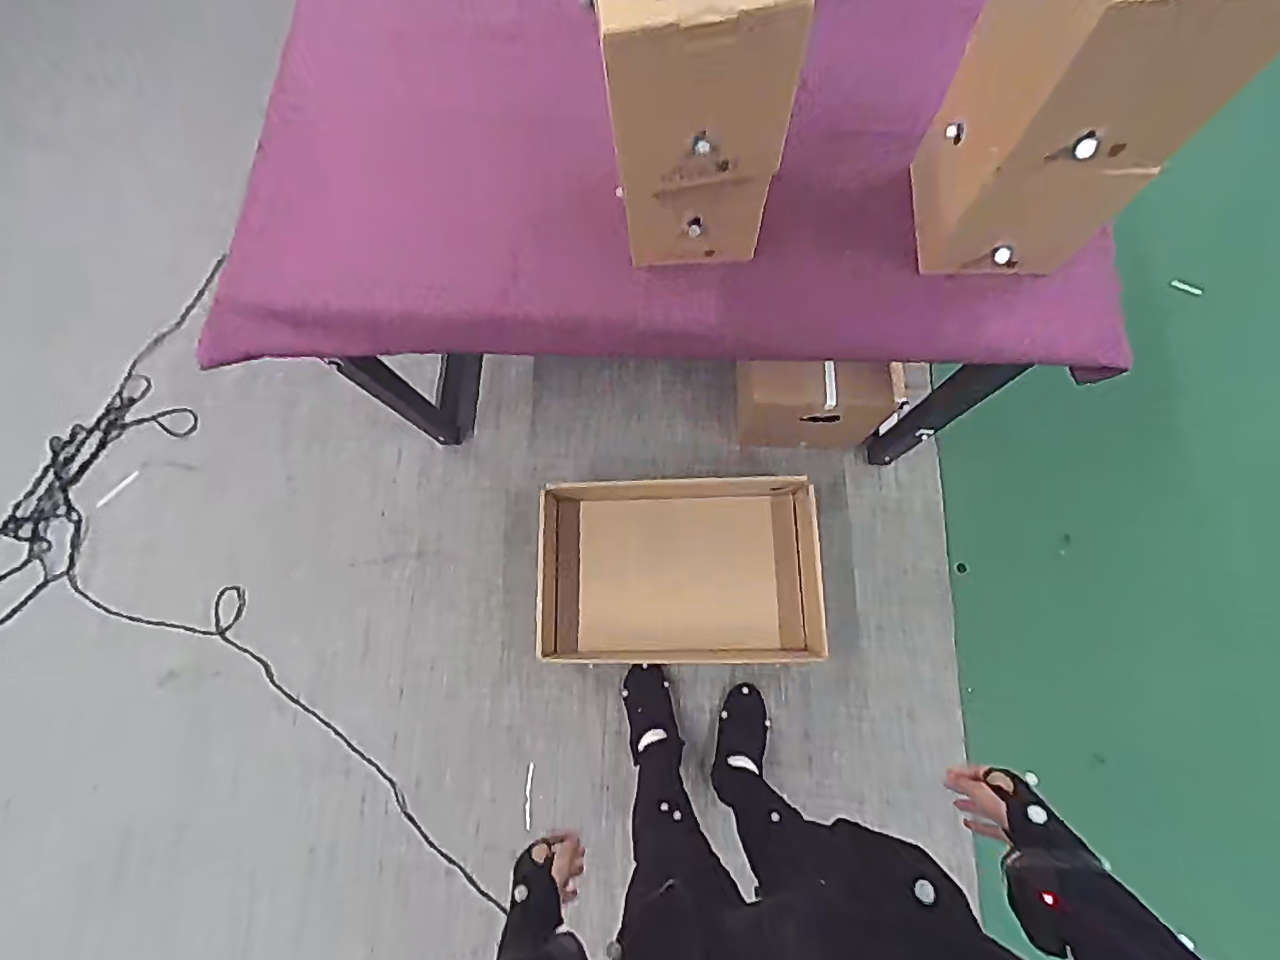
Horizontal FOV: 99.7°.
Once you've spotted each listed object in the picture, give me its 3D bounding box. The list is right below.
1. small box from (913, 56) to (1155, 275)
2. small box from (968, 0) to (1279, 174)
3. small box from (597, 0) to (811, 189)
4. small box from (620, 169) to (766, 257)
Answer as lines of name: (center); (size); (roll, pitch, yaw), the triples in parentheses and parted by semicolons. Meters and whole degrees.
small box: (0.445, -0.373, 0.646); (0.168, 0.176, 0.179); (1, 76, 5)
small box: (0.428, -0.415, 0.490); (0.168, 0.176, 0.179); (-1, 75, 5)
small box: (0.047, -0.418, 0.514); (0.168, 0.176, 0.179); (-8, 76, 3)
small box: (0.065, -0.400, 0.679); (0.168, 0.176, 0.179); (-2, 76, 3)
